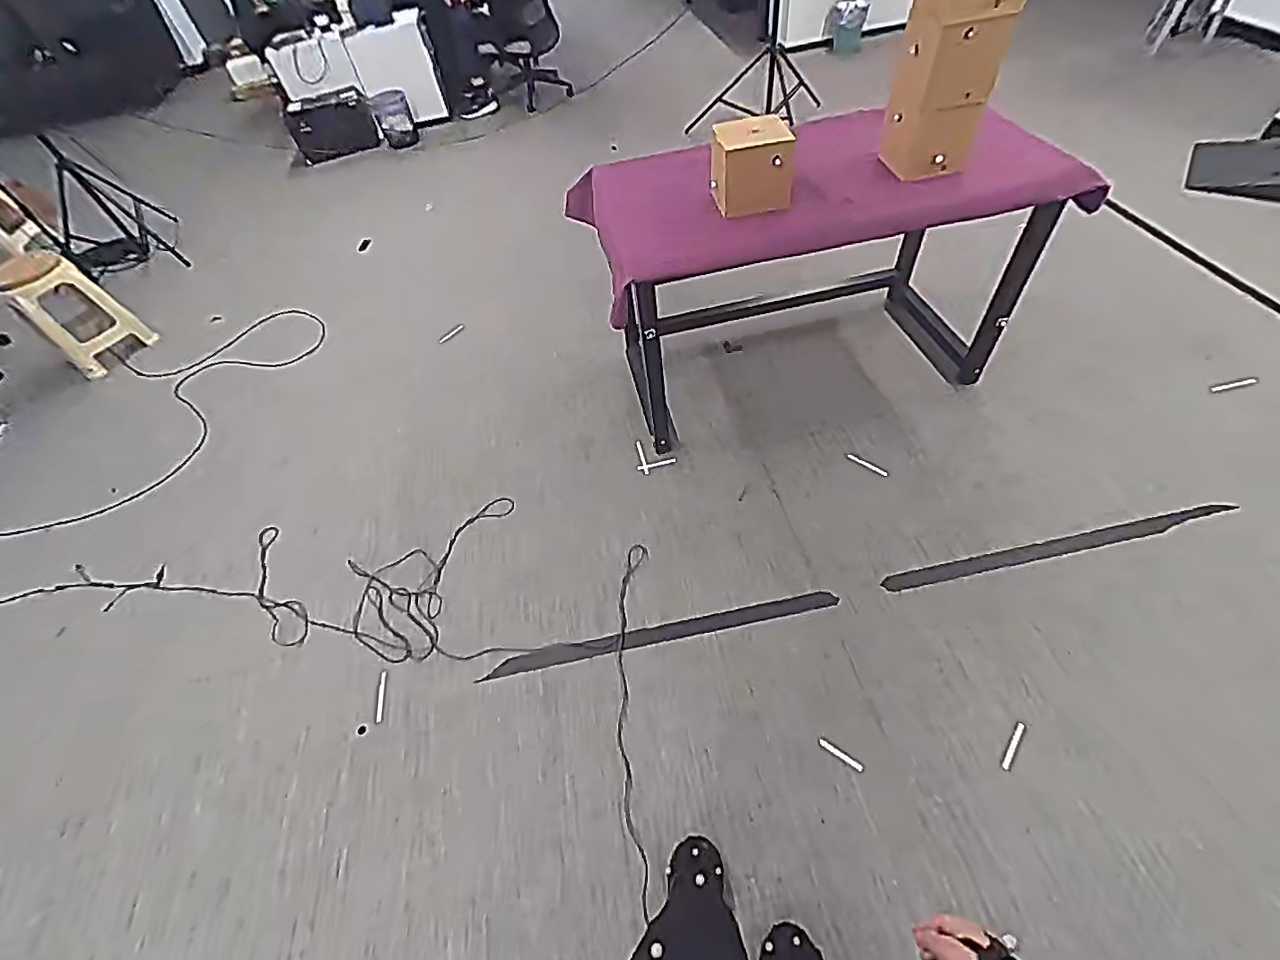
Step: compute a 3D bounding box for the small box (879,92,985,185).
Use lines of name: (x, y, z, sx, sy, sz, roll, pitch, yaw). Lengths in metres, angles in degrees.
small box: (0.753, -0.905, 1.419, 0.168, 0.176, 0.179, -11, 53, 1)

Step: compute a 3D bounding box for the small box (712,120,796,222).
small box: (0.288, -0.800, 1.405, 0.179, 0.176, 0.168, -10, 51, 1)

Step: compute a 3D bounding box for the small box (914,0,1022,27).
small box: (0.718, -1.094, 1.153, 0.168, 0.176, 0.179, -9, 52, 2)

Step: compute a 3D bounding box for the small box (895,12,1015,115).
small box: (0.735, -1.000, 1.286, 0.168, 0.176, 0.179, -9, 51, 2)
